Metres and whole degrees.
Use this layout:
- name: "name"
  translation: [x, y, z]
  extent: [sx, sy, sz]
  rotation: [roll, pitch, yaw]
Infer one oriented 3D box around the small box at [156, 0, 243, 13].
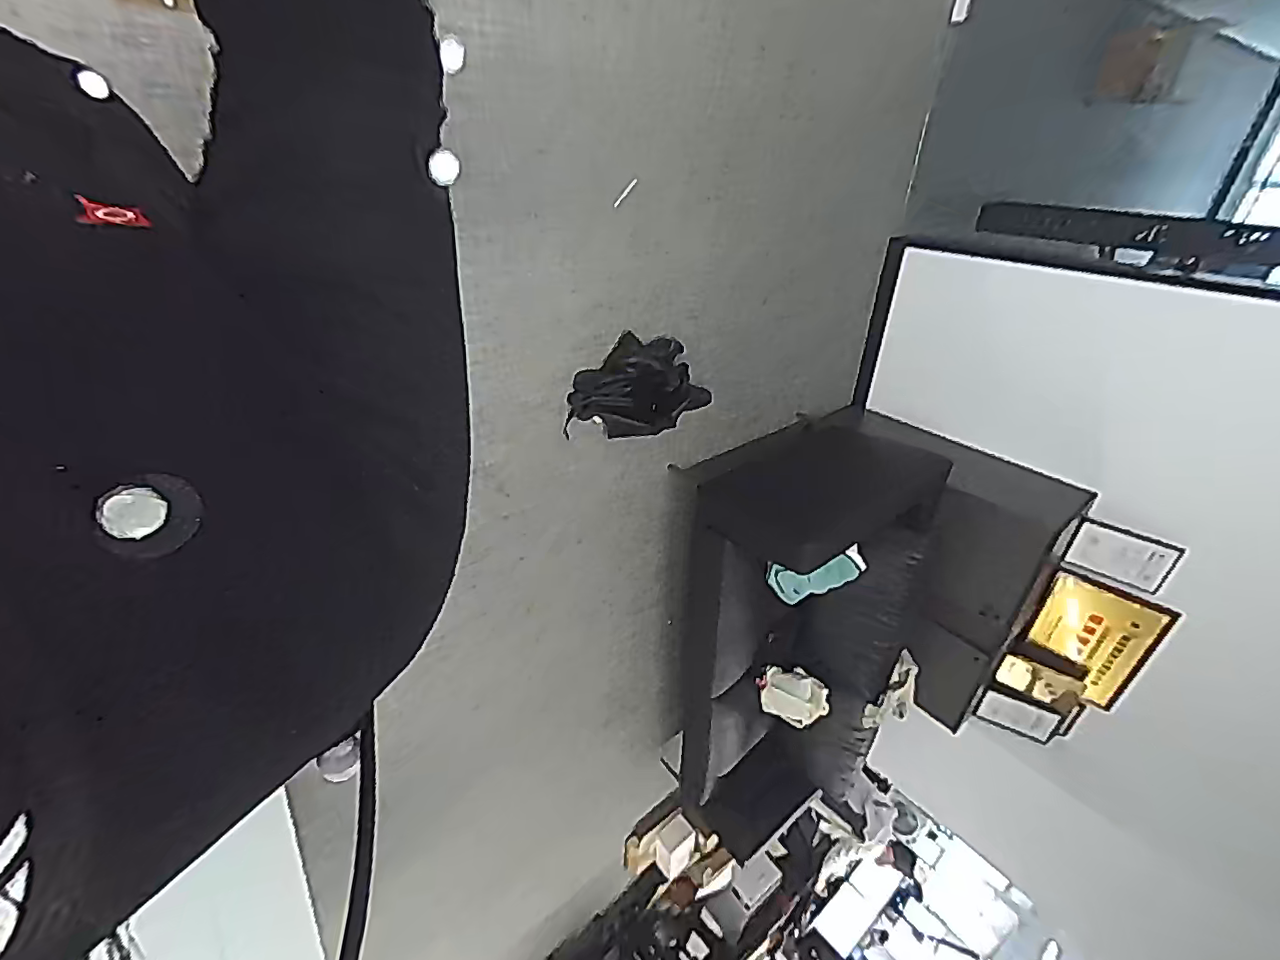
- name: "small box"
  translation: [-0.700, -0.810, 0.775]
  extent: [0.168, 0.176, 0.179]
  rotation: [-19, 127, -34]
